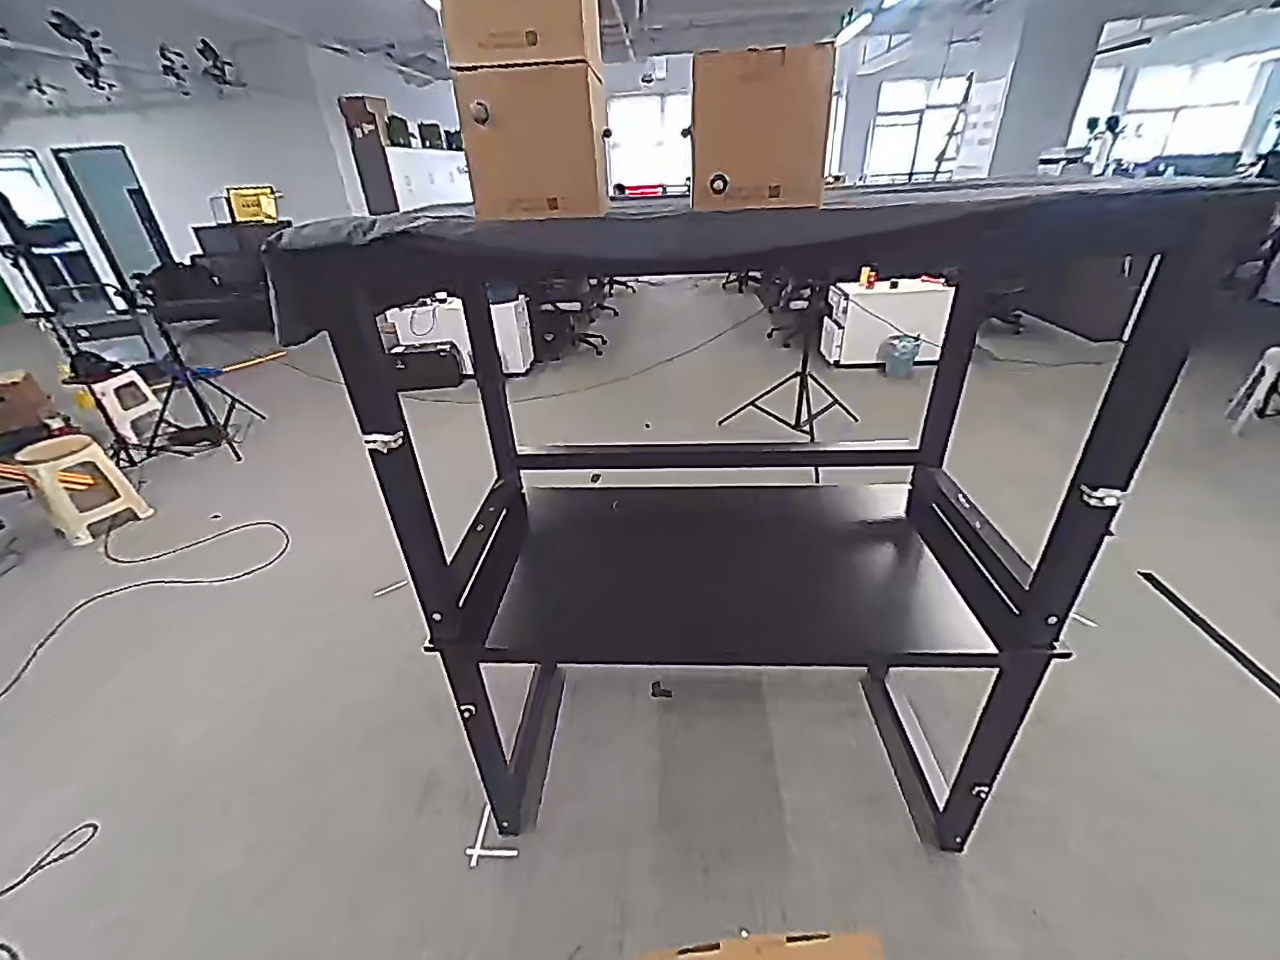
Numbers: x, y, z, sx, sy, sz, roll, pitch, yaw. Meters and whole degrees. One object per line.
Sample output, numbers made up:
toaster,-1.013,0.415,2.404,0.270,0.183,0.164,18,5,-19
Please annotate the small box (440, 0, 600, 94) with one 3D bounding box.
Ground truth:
small box,-0.143,-0.595,0.665,0.168,0.176,0.179,-1,28,4

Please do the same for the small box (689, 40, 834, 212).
small box,0.150,-0.459,0.725,0.168,0.176,0.179,0,28,5
